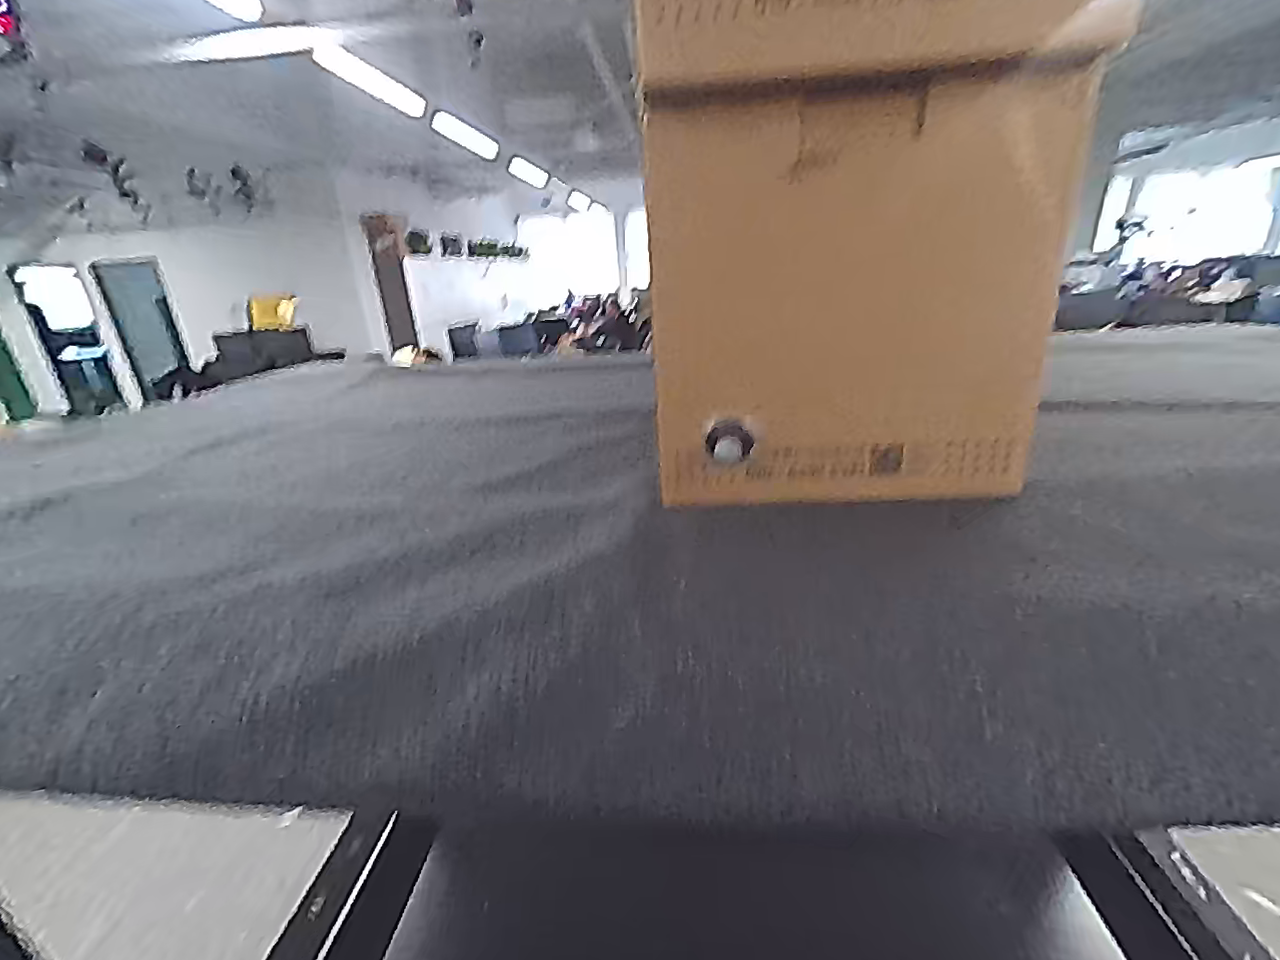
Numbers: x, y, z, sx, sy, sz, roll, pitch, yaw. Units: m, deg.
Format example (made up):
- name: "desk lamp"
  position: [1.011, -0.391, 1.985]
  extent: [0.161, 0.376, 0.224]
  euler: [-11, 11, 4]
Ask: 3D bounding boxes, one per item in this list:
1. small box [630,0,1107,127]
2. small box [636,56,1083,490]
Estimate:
- name: "small box"
  position: [0.079, -0.245, 0.236]
  extent: [0.168, 0.176, 0.179]
  euler: [-1, 19, 3]
- name: "small box"
  position: [0.092, -0.097, 0.304]
  extent: [0.168, 0.176, 0.179]
  euler: [-2, 19, 5]
